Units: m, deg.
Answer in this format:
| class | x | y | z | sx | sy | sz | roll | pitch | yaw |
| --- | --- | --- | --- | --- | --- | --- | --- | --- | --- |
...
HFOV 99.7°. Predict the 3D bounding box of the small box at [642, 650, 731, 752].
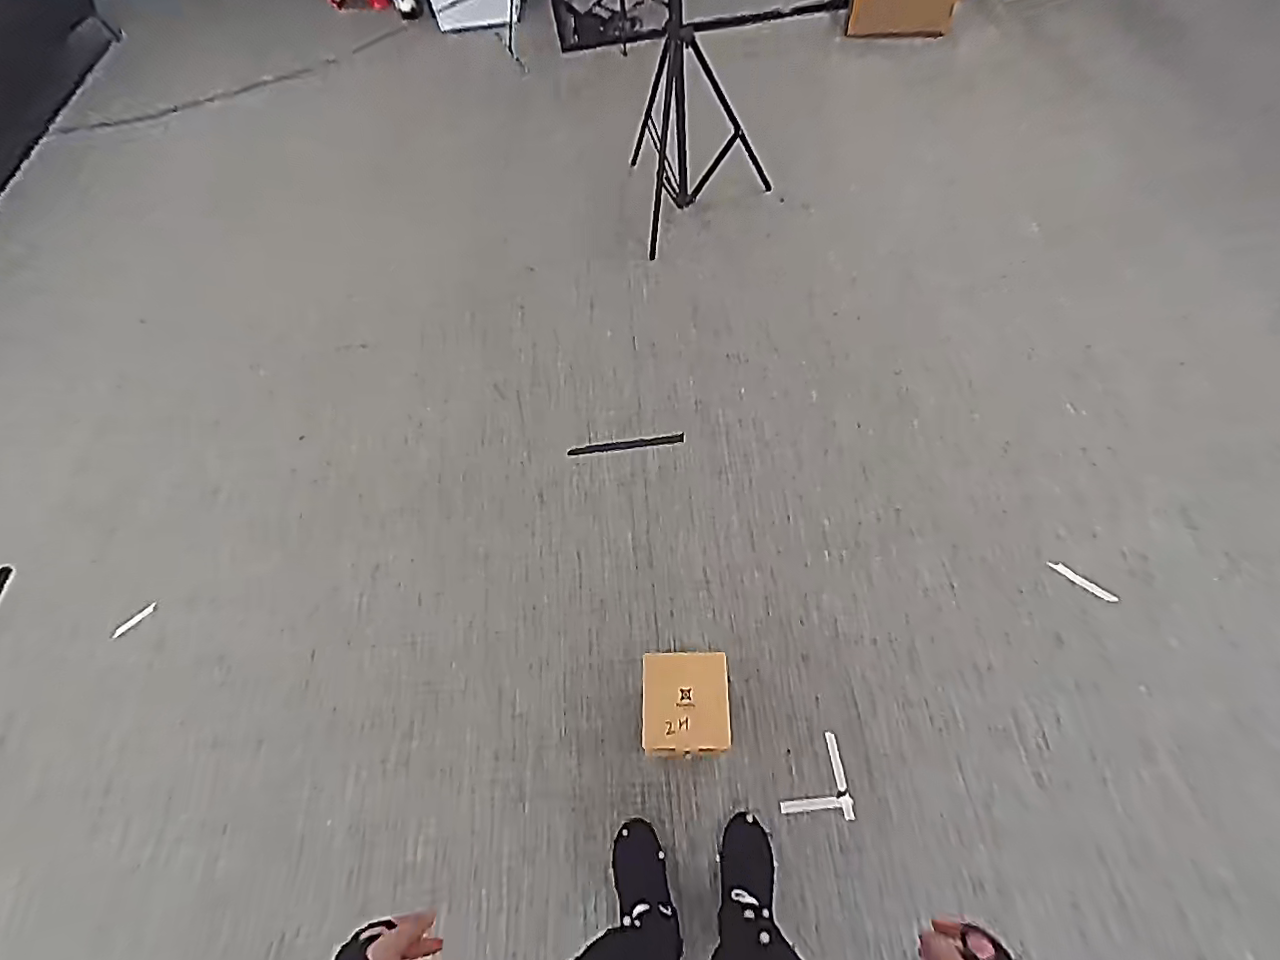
| class | x | y | z | sx | sy | sz | roll | pitch | yaw |
| --- | --- | --- | --- | --- | --- | --- | --- | --- | --- |
| small box | 0.094 | 0.450 | 1.096 | 0.168 | 0.176 | 0.179 | -3 | 63 | 6 |
